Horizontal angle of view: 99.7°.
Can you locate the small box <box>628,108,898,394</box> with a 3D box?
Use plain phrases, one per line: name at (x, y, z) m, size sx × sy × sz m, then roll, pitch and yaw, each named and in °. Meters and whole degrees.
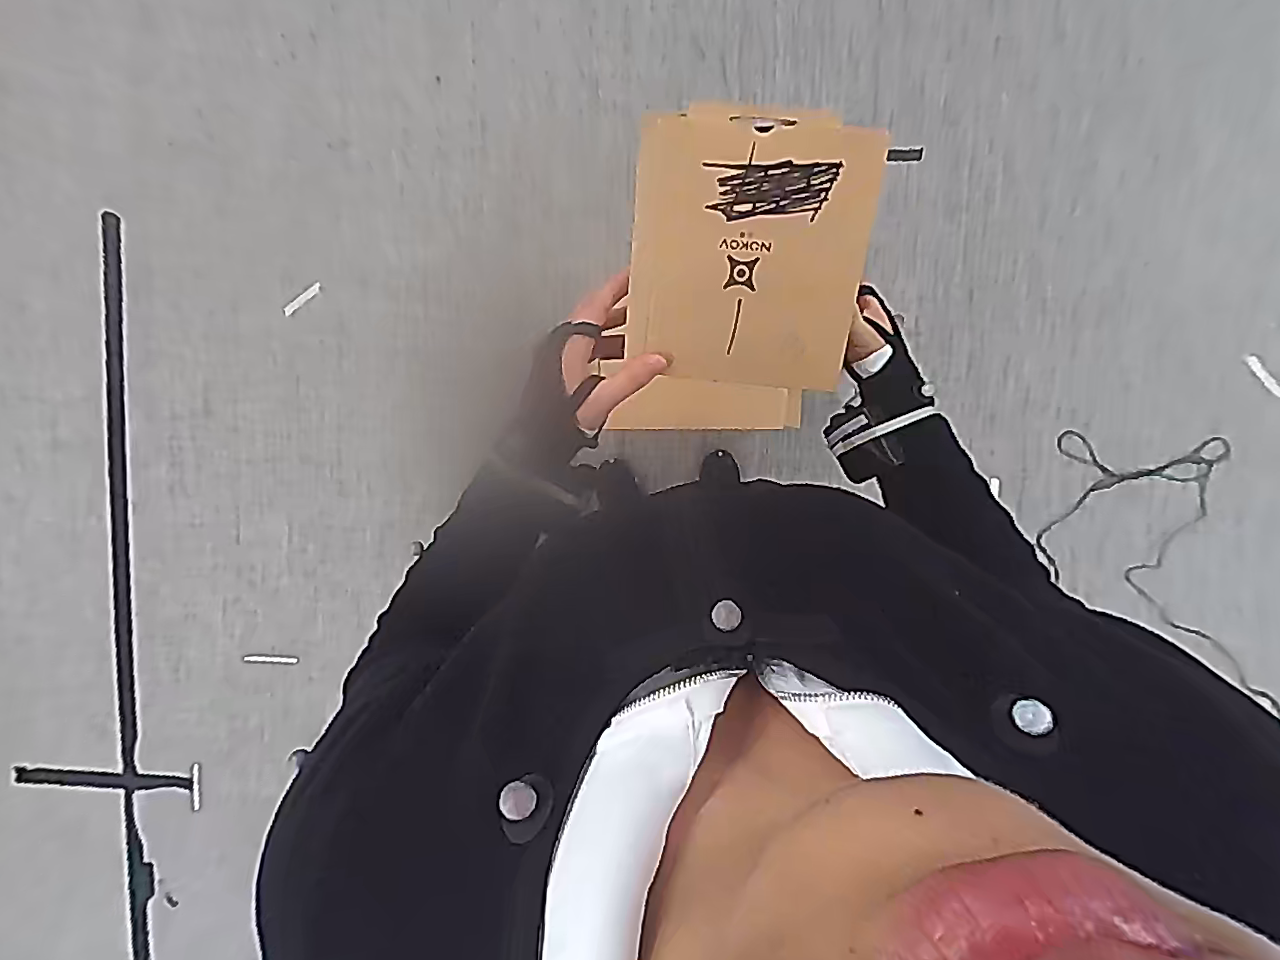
small box at (0.087, -0.180, 0.454) m, size 0.168 × 0.176 × 0.179 m, roll 7°, pitch 110°, yaw 5°
